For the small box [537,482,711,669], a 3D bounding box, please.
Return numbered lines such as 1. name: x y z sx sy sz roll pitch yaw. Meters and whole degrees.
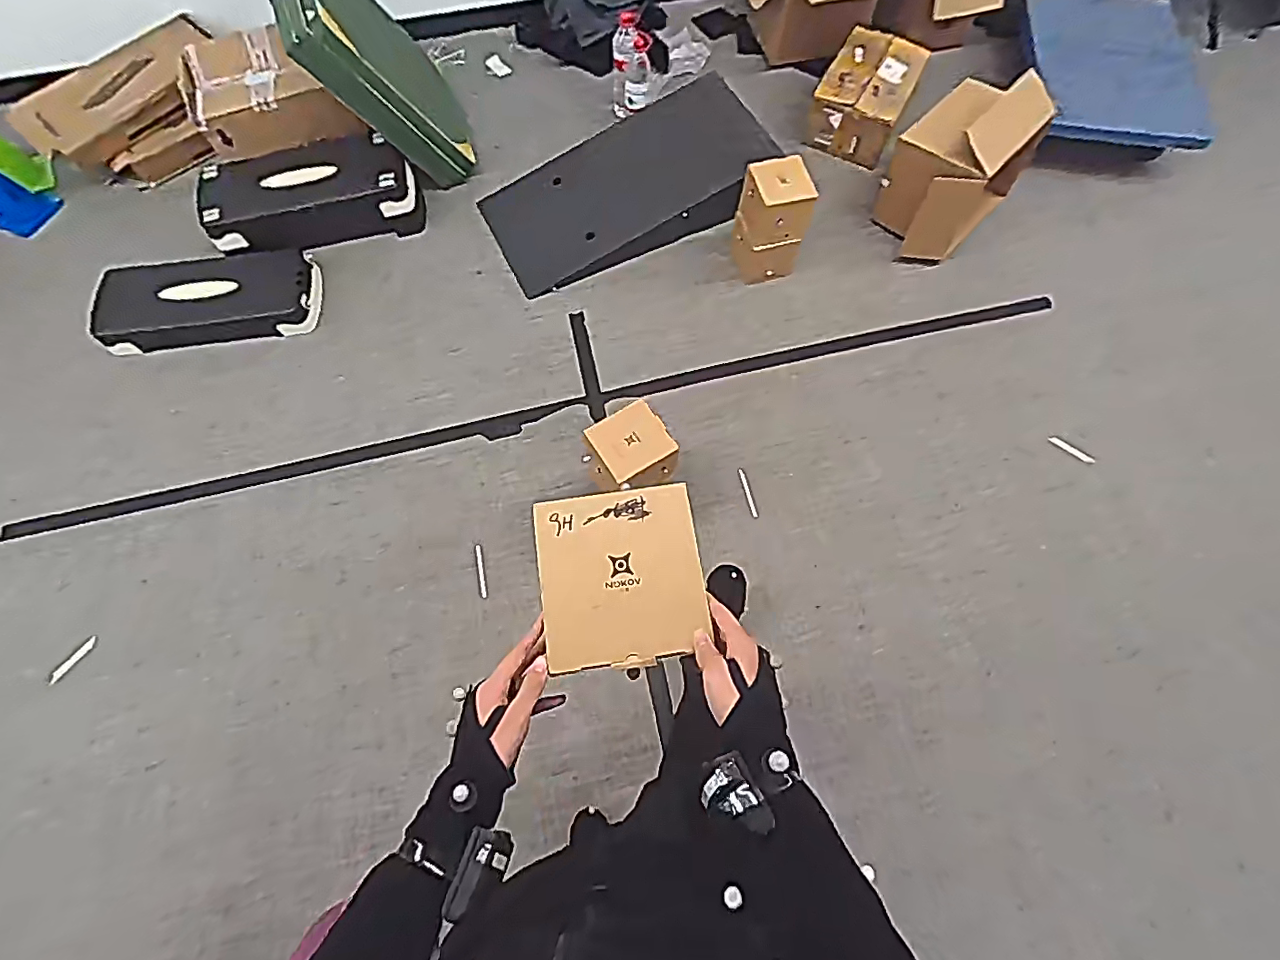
1. small box: -0.020 0.117 0.635 0.168 0.176 0.179 -8 72 -4
